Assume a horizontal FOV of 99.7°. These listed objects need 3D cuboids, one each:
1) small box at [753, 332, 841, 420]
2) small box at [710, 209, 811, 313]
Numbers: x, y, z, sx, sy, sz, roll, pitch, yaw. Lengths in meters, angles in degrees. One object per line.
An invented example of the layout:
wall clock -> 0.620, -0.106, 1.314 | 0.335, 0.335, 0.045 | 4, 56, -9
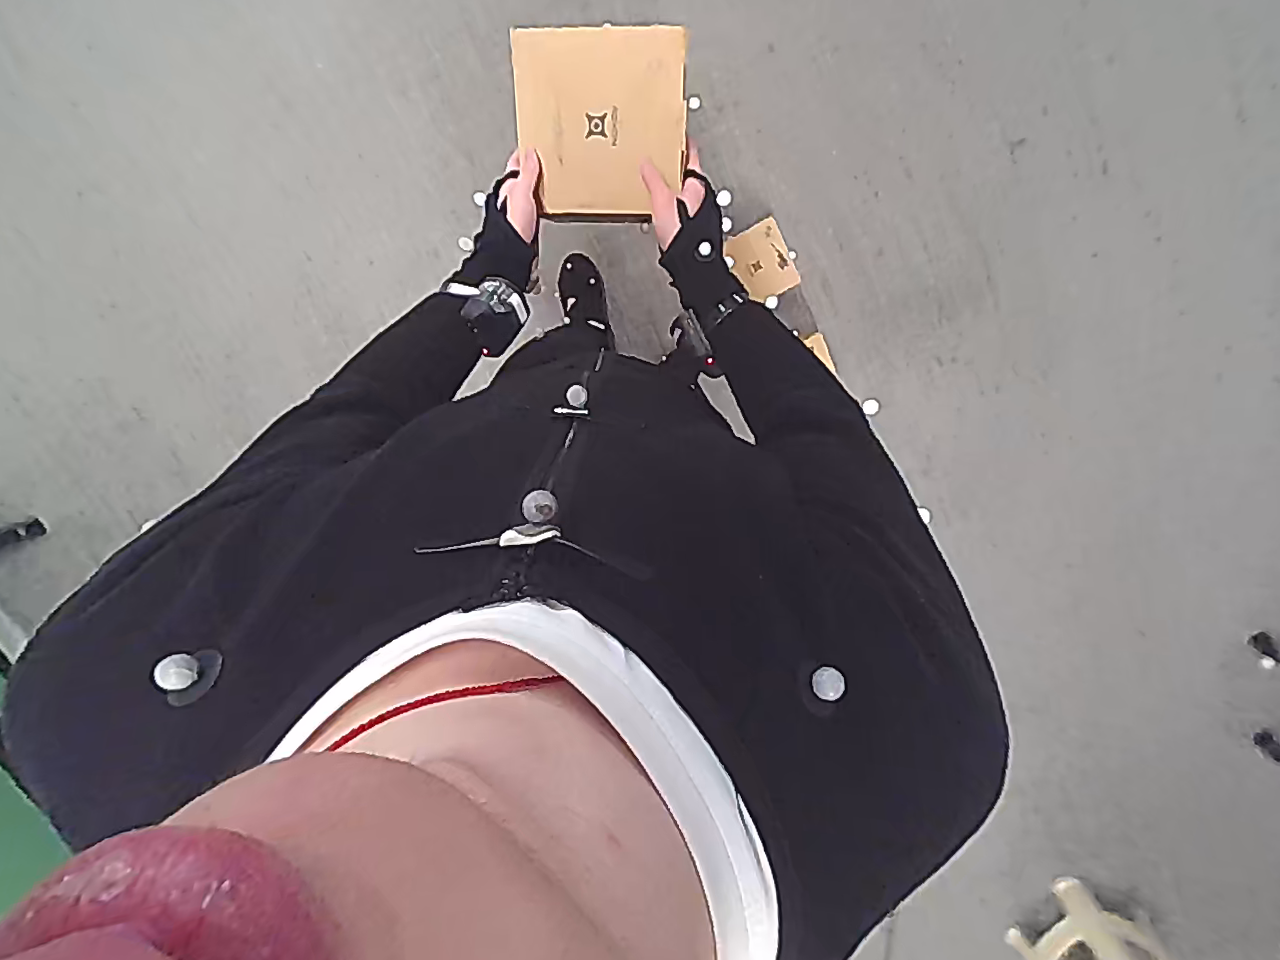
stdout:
small box -> 0.400, -0.273, 1.404 | 0.168, 0.176, 0.179 | -18, 103, 11
small box -> 0.286, -0.528, 1.336 | 0.179, 0.176, 0.168 | 32, 103, -4
